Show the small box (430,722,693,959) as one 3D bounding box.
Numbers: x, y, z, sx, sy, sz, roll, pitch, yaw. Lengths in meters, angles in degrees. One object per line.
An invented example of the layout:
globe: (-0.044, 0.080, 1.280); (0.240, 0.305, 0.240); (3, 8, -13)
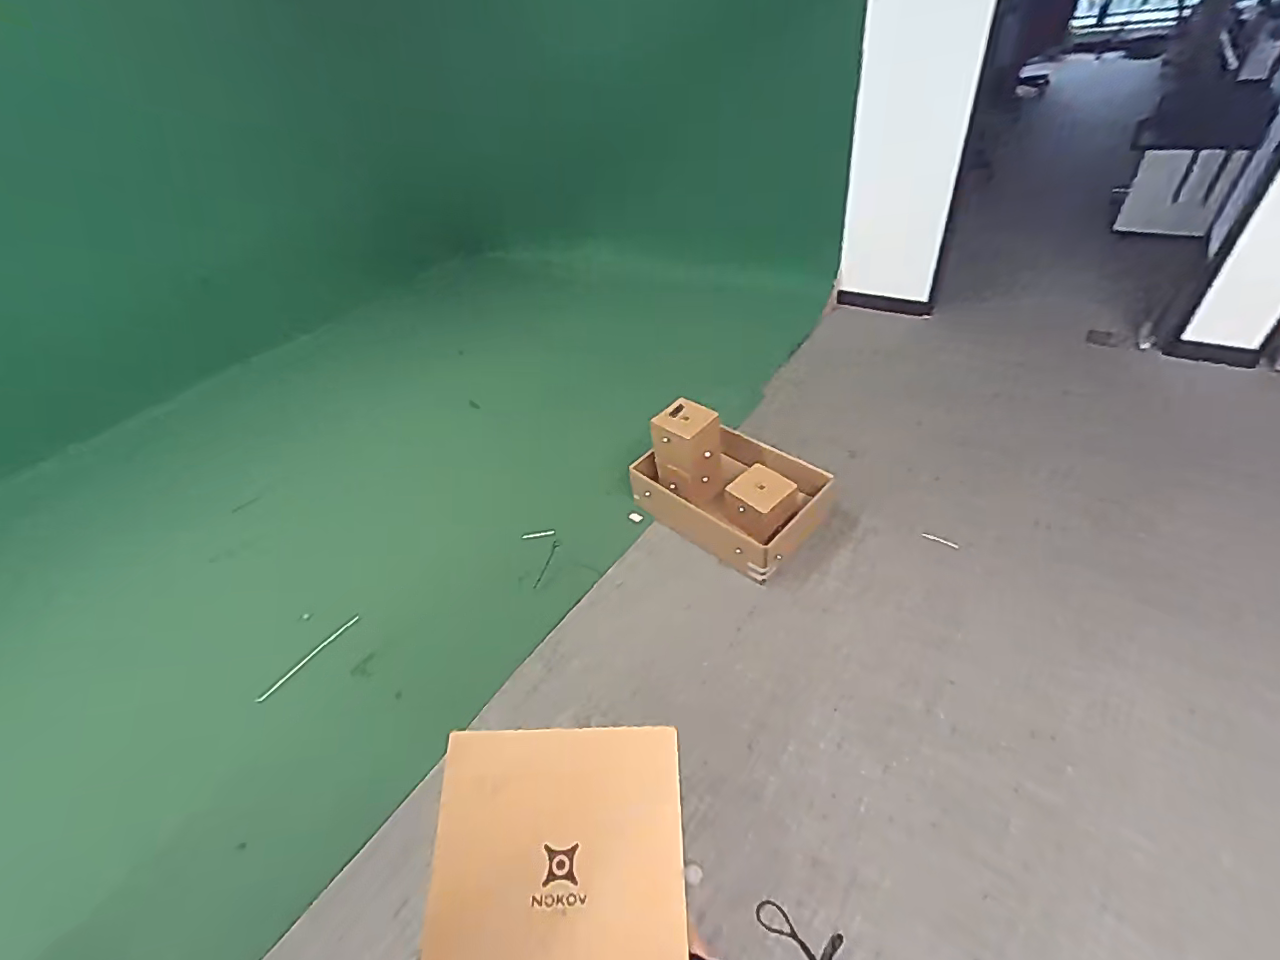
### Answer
small box: (-0.055, 0.293, 0.428); (0.168, 0.176, 0.179); (2, 63, -4)

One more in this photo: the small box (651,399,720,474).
small box: (0.161, -0.149, 1.884); (0.179, 0.176, 0.168); (30, 56, 34)
